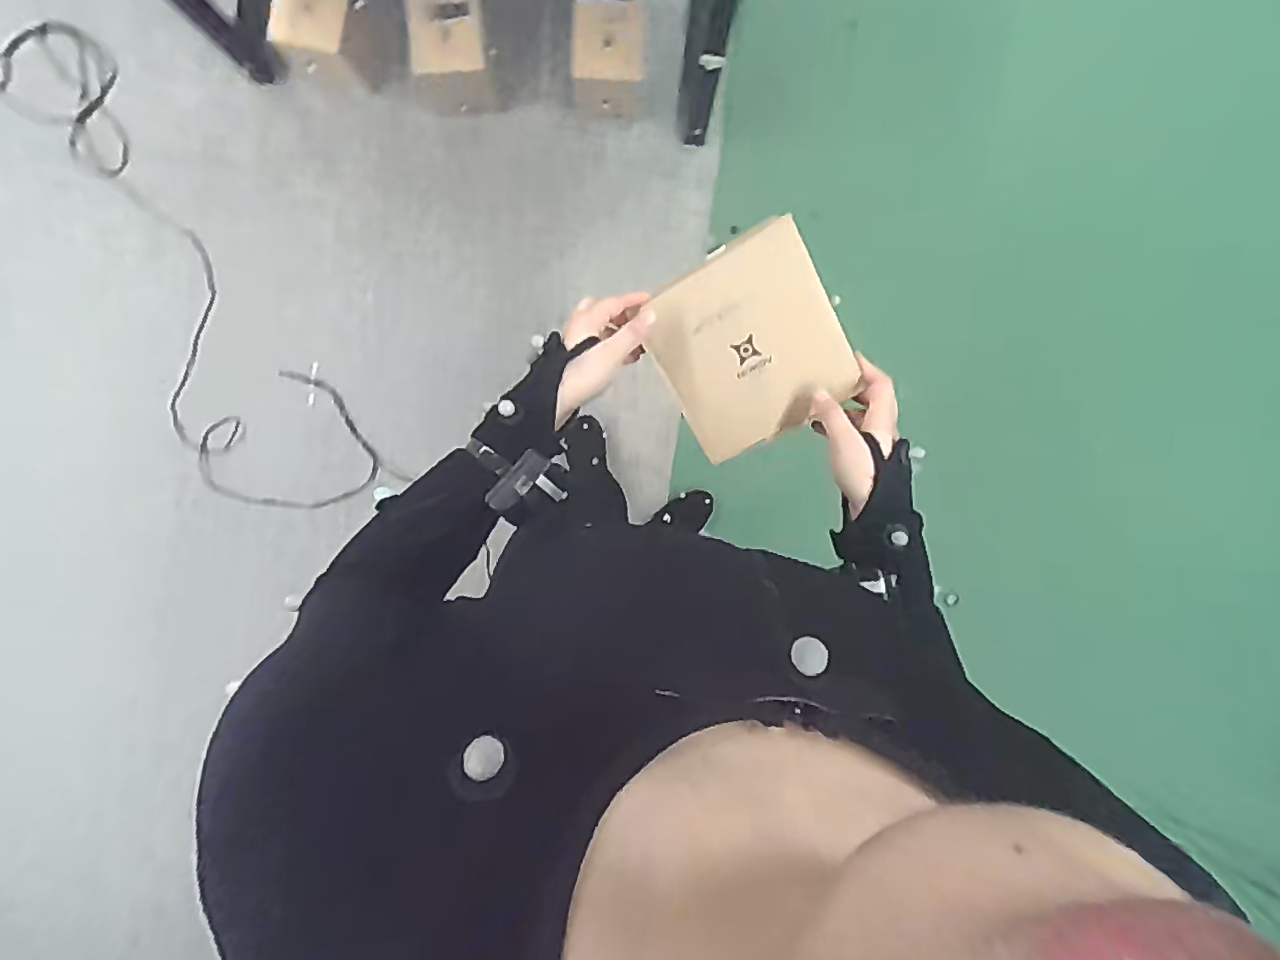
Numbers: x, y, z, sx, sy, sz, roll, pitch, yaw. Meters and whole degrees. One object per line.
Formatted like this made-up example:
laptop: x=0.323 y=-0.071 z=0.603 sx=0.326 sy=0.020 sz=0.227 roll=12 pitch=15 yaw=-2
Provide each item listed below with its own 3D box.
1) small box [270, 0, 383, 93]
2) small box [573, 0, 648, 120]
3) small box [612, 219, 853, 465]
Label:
small box: x=-0.744 y=-1.082 z=1.301 sx=0.168 sy=0.176 sz=0.179 roll=12 pitch=94 yaw=-1
small box: x=-0.068 y=-1.011 z=1.312 sx=0.168 sy=0.176 sz=0.179 roll=3 pitch=94 yaw=-2
small box: x=0.095 y=-0.150 z=0.566 sx=0.168 sy=0.176 sz=0.179 roll=-28 pitch=109 yaw=19
